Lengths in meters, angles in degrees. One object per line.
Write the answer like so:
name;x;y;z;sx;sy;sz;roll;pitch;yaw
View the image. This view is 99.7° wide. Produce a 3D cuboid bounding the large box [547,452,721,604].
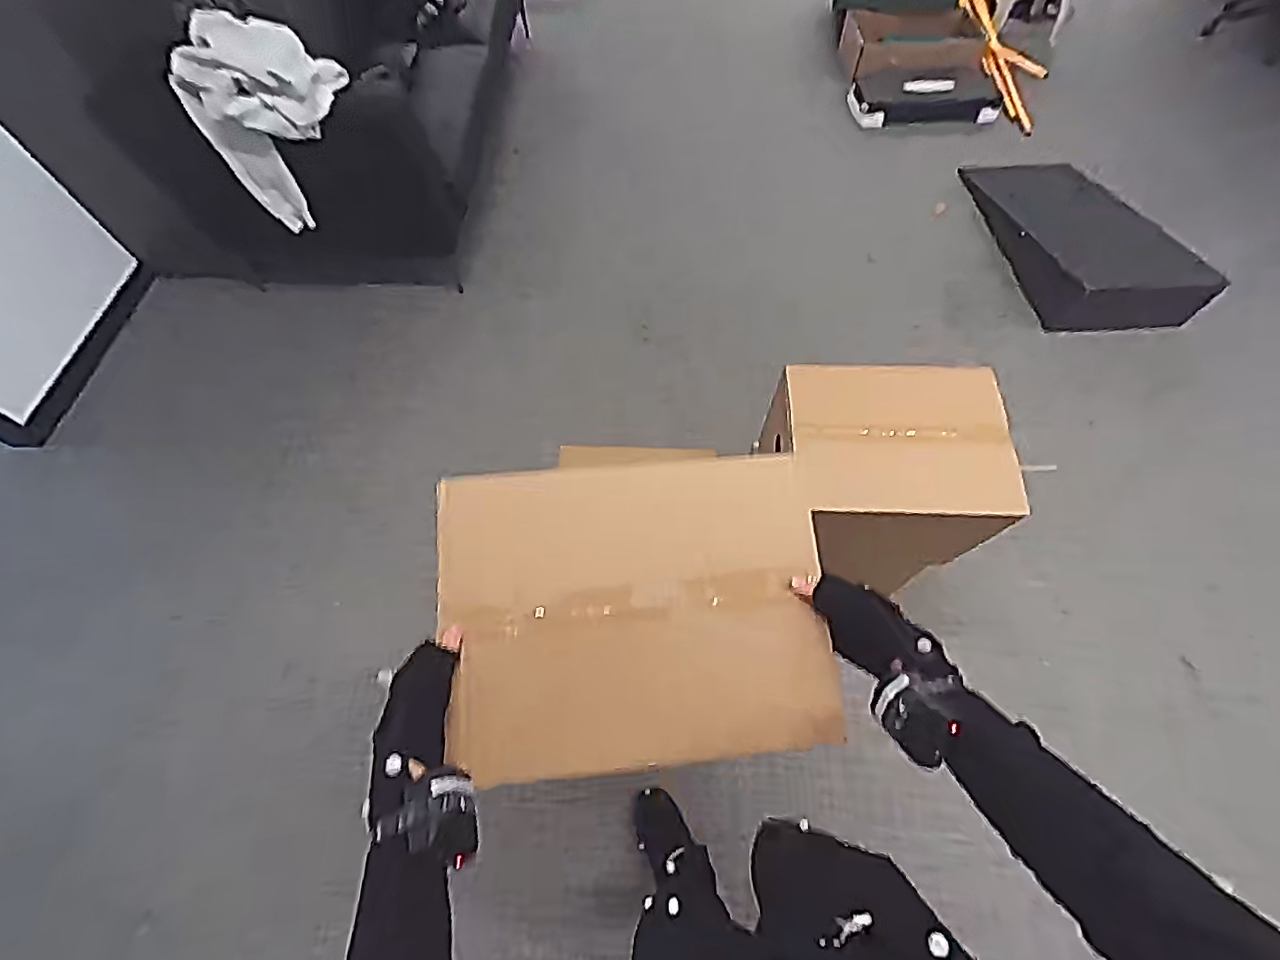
large box;0.000;0.135;1.428;0.408;0.320;0.320;1;60;4
